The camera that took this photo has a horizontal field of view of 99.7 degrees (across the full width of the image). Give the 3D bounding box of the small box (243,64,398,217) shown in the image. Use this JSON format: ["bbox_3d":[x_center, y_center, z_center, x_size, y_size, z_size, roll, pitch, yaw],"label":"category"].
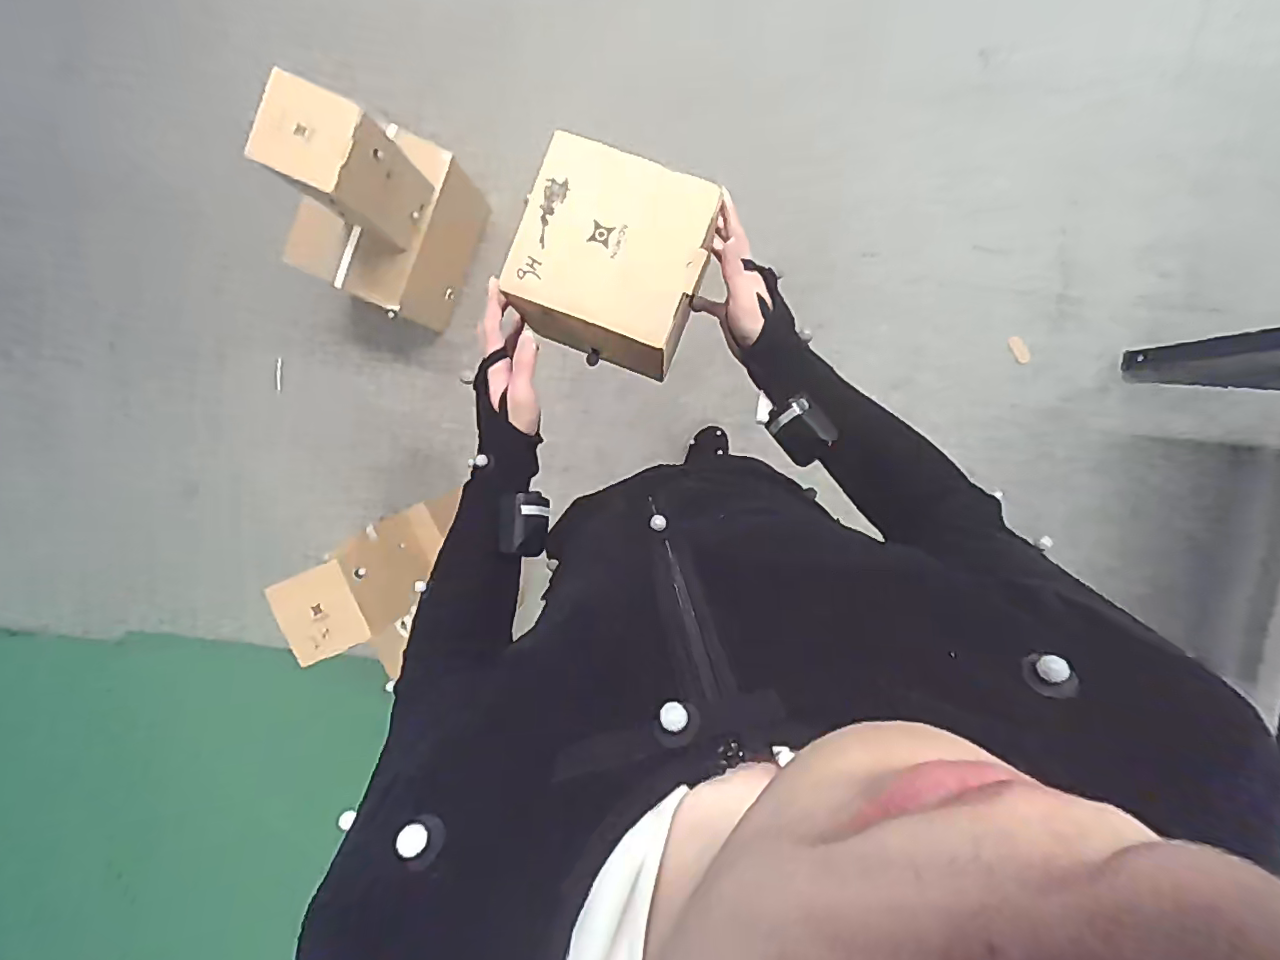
[{"bbox_3d":[-0.604,-0.639,1.046,0.179,0.176,0.168,24,96,-1],"label":"small box"}]

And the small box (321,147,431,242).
[{"bbox_3d":[-0.604,-0.661,1.207,0.179,0.176,0.168,26,96,-2],"label":"small box"}]

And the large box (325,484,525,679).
[{"bbox_3d":[-0.588,0.270,1.549,0.320,0.320,0.408,-27,96,6],"label":"large box"}]

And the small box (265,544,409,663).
[{"bbox_3d":[-0.625,0.246,1.135,0.168,0.176,0.179,-23,95,5],"label":"small box"}]
